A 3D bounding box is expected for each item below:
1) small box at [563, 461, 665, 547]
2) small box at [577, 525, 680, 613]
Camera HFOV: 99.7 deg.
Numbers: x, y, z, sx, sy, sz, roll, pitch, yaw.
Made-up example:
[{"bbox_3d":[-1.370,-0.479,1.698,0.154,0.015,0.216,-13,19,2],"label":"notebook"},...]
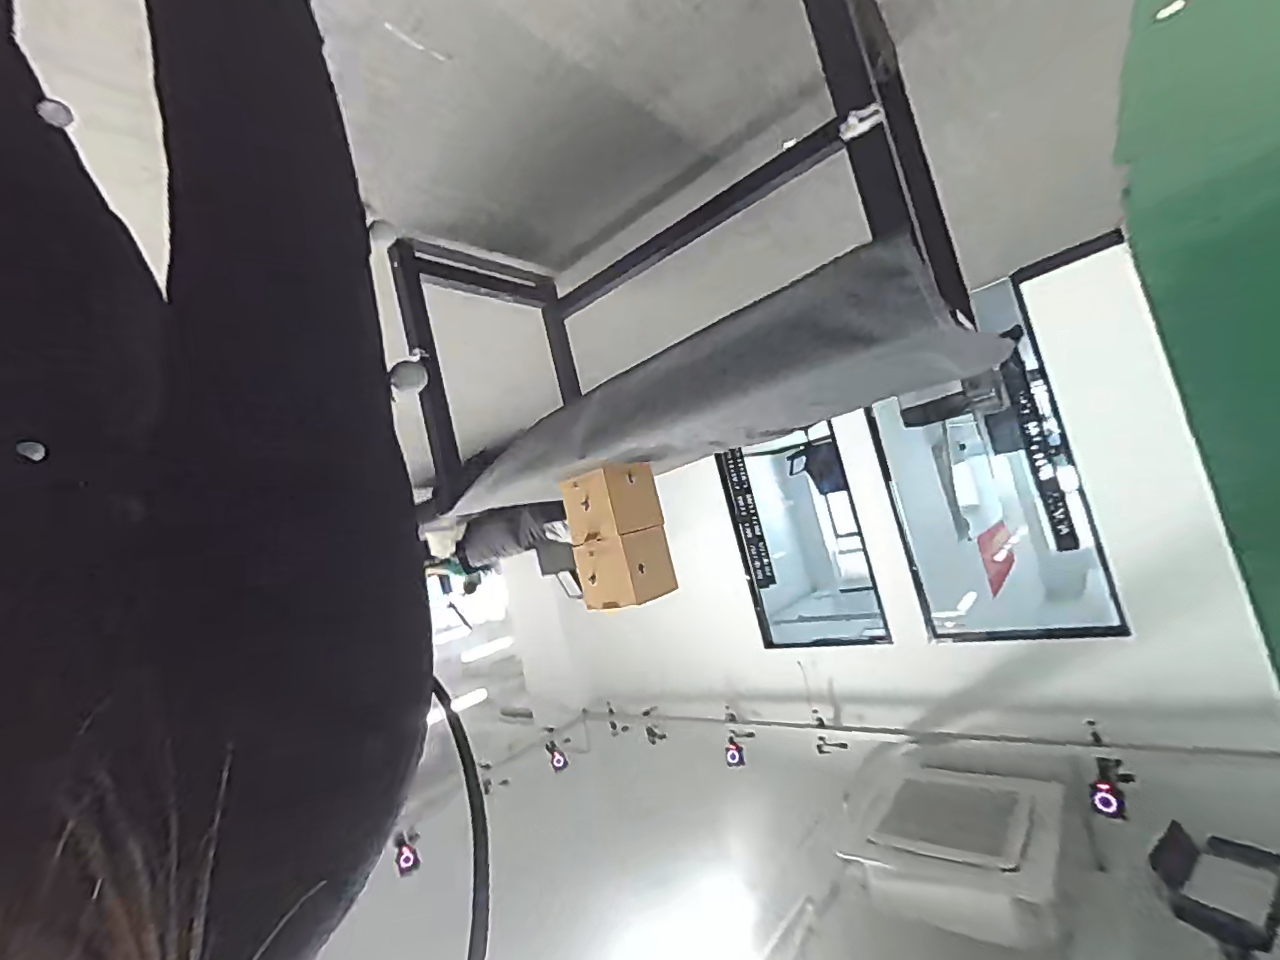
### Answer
[{"bbox_3d":[-0.069,0.057,1.347,0.168,0.176,0.179,-18,173,41],"label":"small box"},{"bbox_3d":[-0.032,0.215,1.336,0.168,0.176,0.179,-17,175,38],"label":"small box"}]
